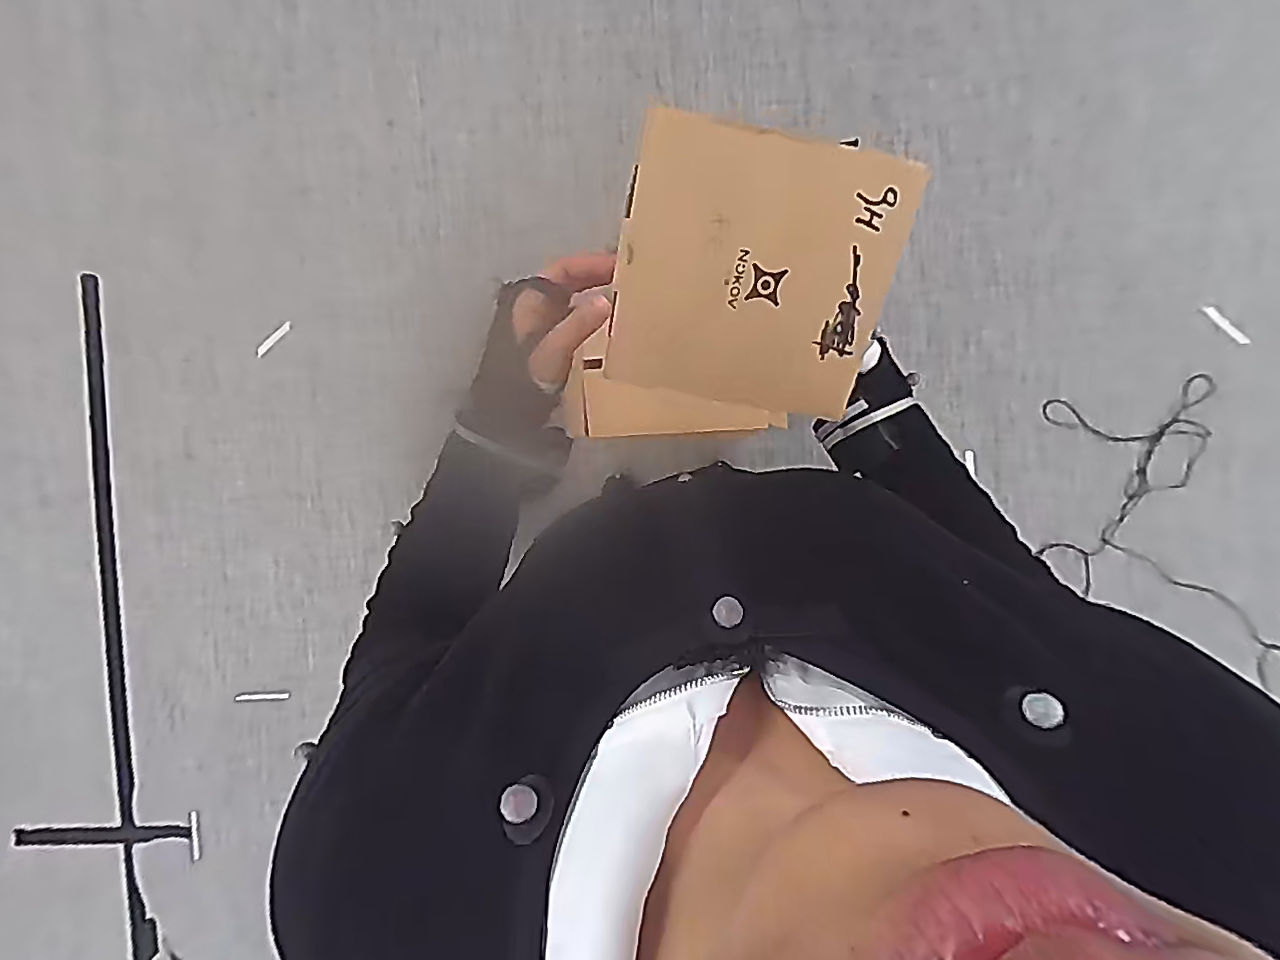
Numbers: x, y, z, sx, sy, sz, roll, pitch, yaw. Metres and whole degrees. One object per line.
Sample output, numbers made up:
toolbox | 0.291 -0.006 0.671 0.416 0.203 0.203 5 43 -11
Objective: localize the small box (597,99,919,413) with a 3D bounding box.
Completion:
small box | 0.071 -0.168 0.424 0.179 0.176 0.168 10 115 -3
